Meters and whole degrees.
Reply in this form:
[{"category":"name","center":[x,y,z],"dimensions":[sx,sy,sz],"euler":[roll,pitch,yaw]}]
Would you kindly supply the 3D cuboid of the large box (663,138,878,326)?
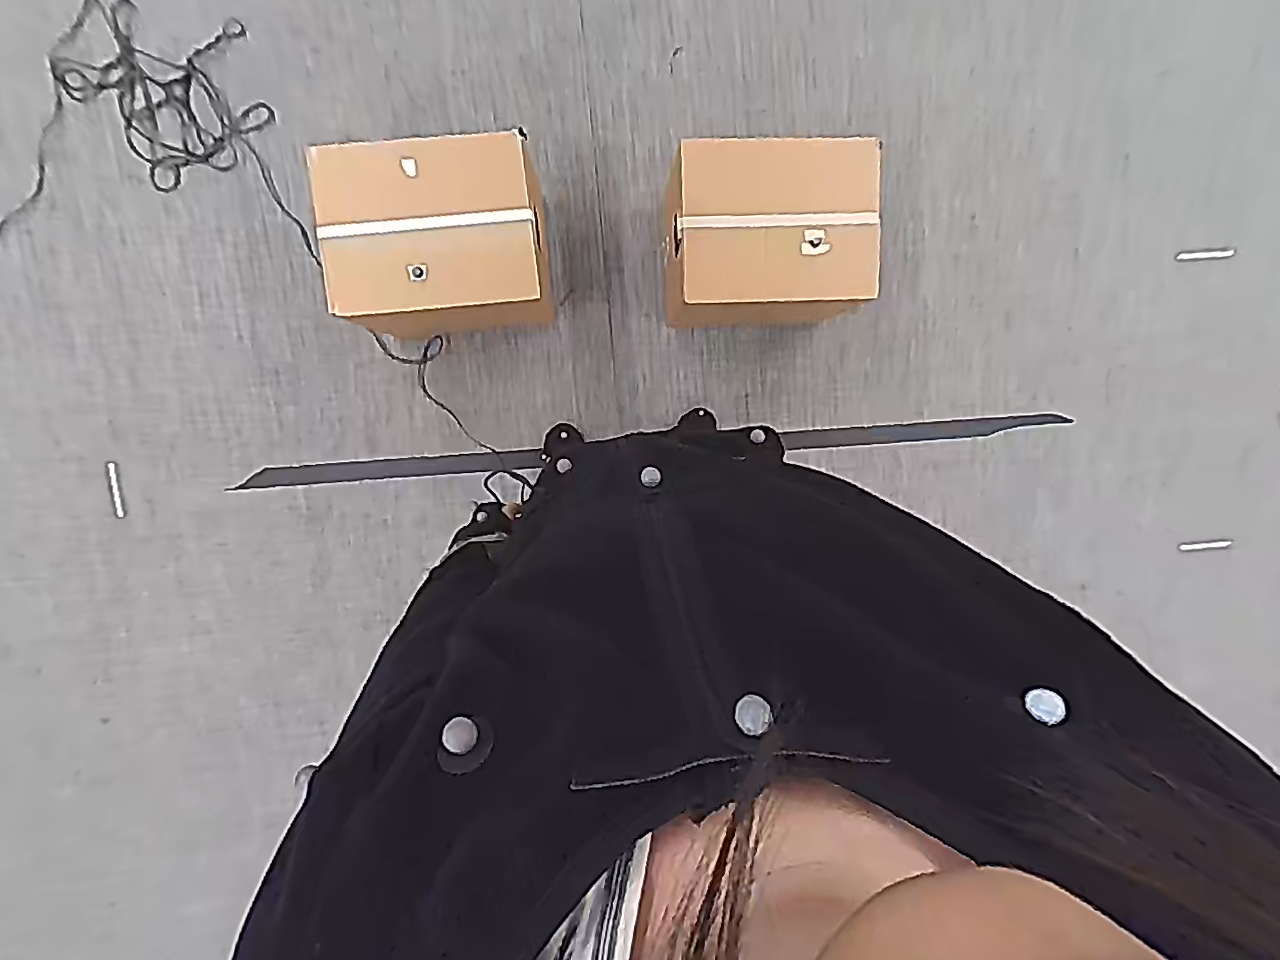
[{"category":"large box","center":[0.273,-0.540,1.236],"dimensions":[0.408,0.320,0.320],"euler":[-2,97,-4]}]
